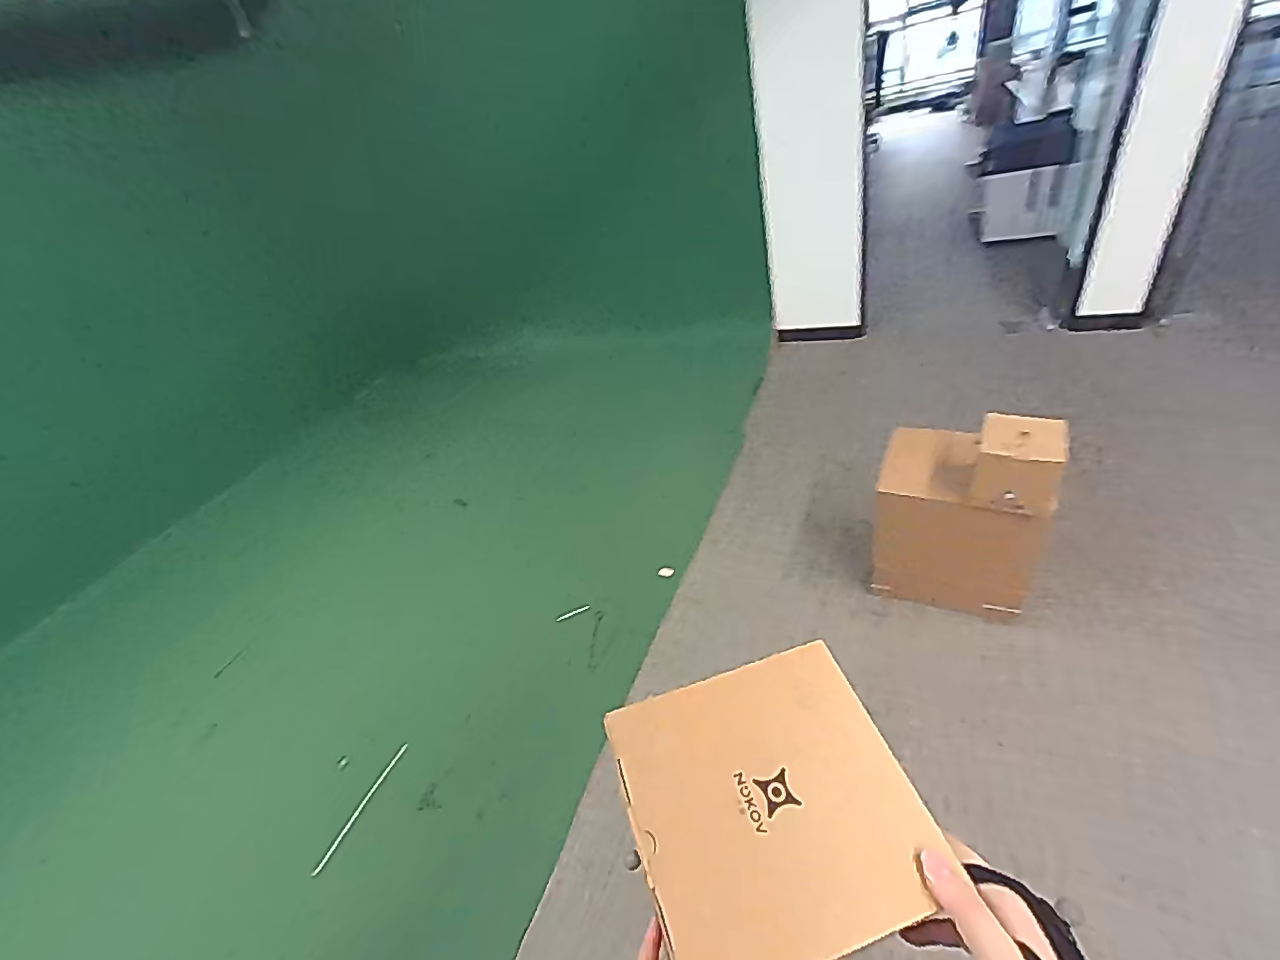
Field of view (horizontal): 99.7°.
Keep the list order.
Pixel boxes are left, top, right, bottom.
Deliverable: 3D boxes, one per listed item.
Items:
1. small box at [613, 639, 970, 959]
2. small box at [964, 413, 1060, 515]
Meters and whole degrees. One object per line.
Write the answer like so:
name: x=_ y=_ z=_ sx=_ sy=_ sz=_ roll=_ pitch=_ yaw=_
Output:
small box: x=0.089 y=0.252 z=0.404 sx=0.179 sy=0.176 sz=0.168 roll=-15 pitch=46 yaw=-9
small box: x=0.911 y=-0.042 z=1.331 sx=0.168 sy=0.176 sz=0.179 roll=11 pitch=44 yaw=31
